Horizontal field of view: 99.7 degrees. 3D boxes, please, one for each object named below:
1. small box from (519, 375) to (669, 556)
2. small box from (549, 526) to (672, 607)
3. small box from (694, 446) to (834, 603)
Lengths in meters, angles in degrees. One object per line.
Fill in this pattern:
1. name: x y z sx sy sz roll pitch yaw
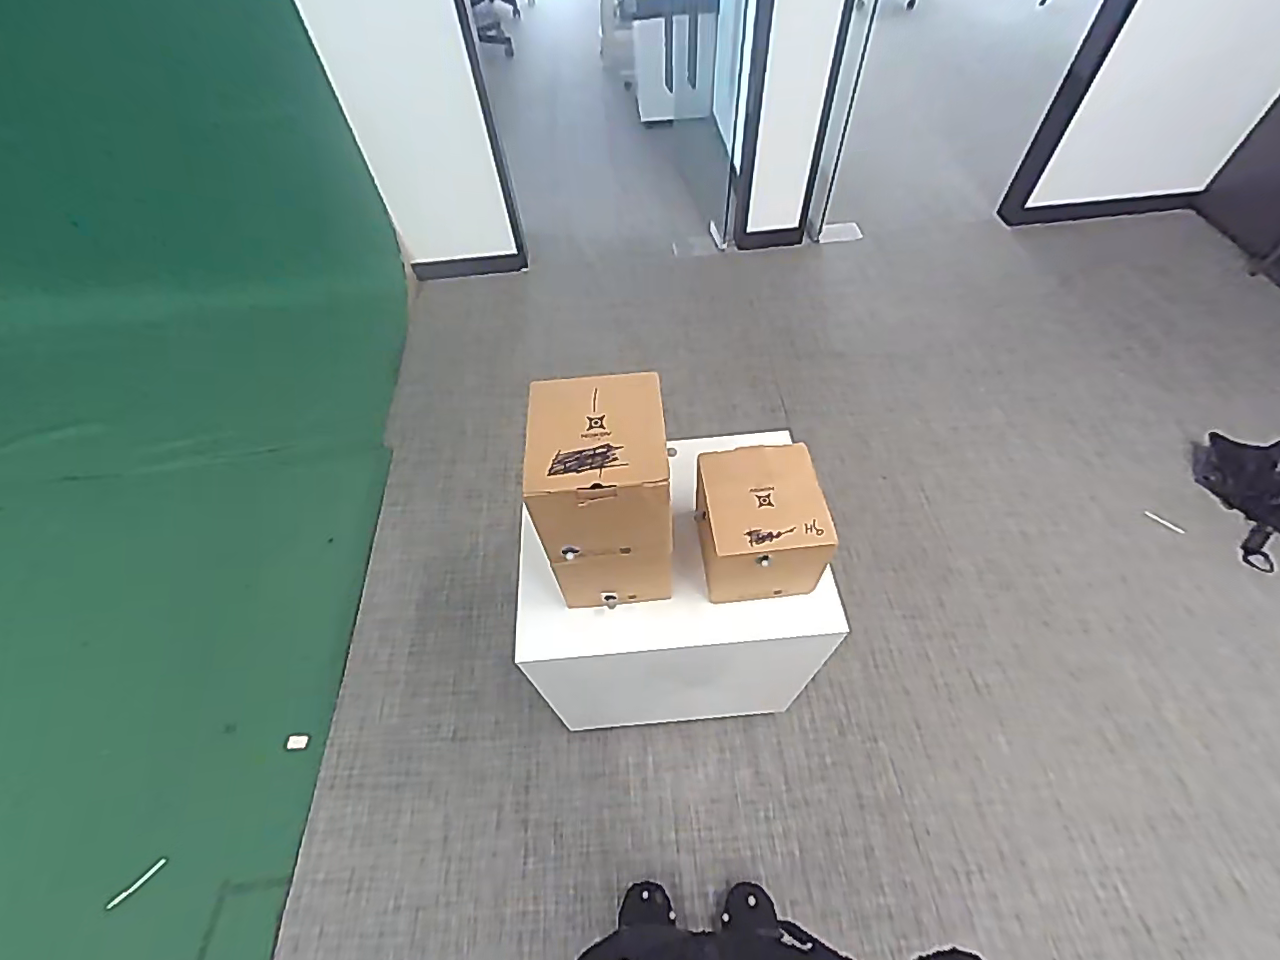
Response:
1. small box: -0.051 -0.010 0.707 0.168 0.176 0.179 -5 54 1
2. small box: -0.044 0.075 0.828 0.168 0.176 0.179 -7 56 -1
3. small box: 0.176 0.071 0.833 0.168 0.176 0.179 -5 54 0
